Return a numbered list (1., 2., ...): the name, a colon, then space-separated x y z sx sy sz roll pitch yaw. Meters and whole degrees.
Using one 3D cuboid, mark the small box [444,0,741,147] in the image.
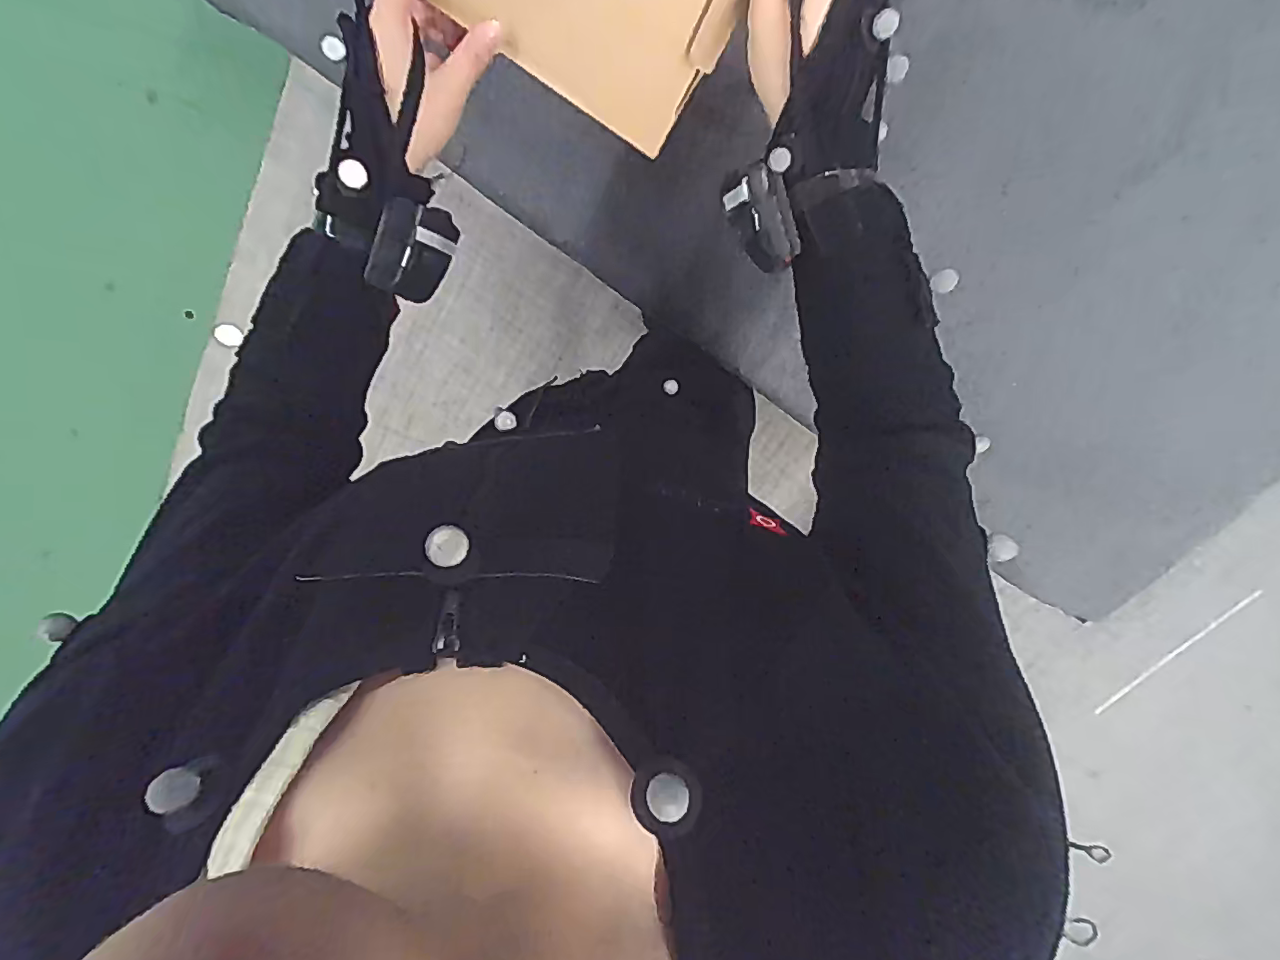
1. small box: -0.008 -0.369 0.357 0.179 0.176 0.168 27 133 -13
